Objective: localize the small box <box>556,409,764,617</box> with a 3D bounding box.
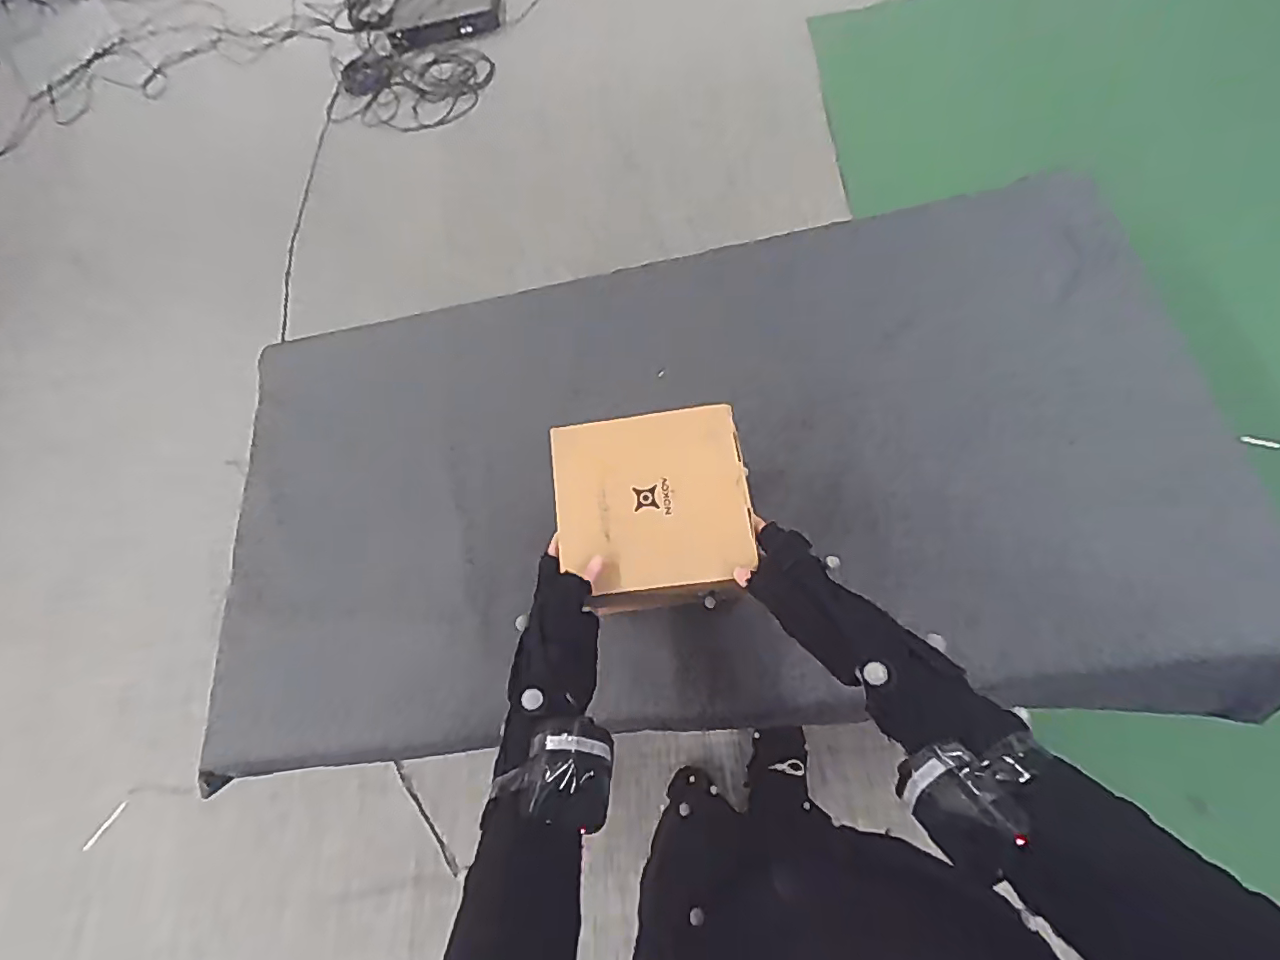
[{"bbox_3d":[0.021,0.046,0.574,0.179,0.176,0.168,-10,70,4],"label":"small box"}]
